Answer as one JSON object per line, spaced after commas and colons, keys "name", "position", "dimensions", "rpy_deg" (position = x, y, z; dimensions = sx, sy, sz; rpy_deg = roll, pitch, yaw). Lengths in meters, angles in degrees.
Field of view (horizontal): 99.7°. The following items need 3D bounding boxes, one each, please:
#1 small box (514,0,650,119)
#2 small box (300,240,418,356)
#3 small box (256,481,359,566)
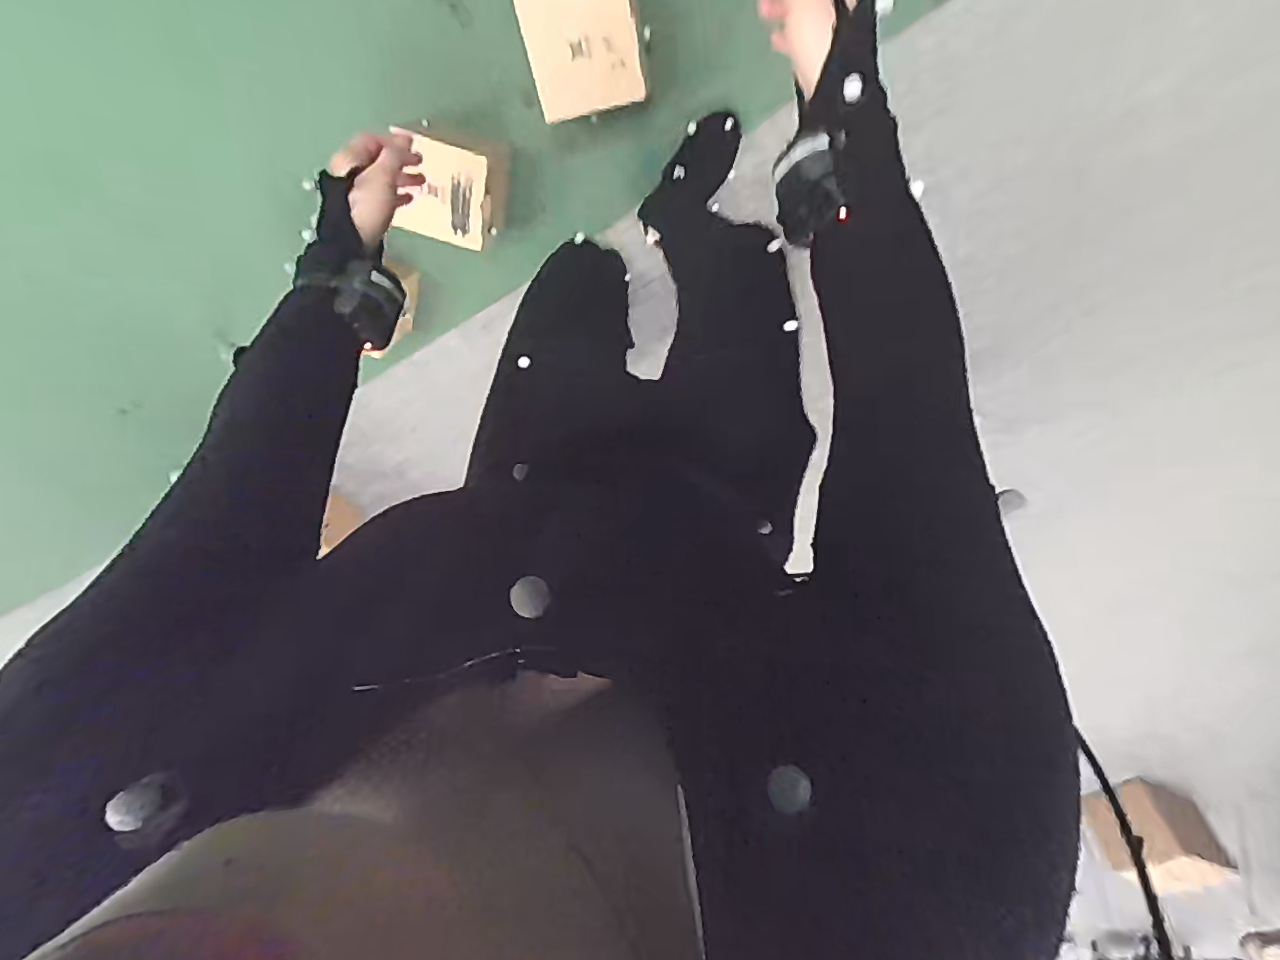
{"name": "small box", "position": [-0.085, -0.723, 0.902], "dimensions": [0.179, 0.176, 0.168], "rpy_deg": [-8, 128, 10]}
{"name": "small box", "position": [-0.622, -0.410, 1.203], "dimensions": [0.179, 0.176, 0.168], "rpy_deg": [20, 128, -12]}
{"name": "small box", "position": [-1.017, 0.134, 1.674], "dimensions": [0.168, 0.176, 0.179], "rpy_deg": [-19, 124, 18]}
